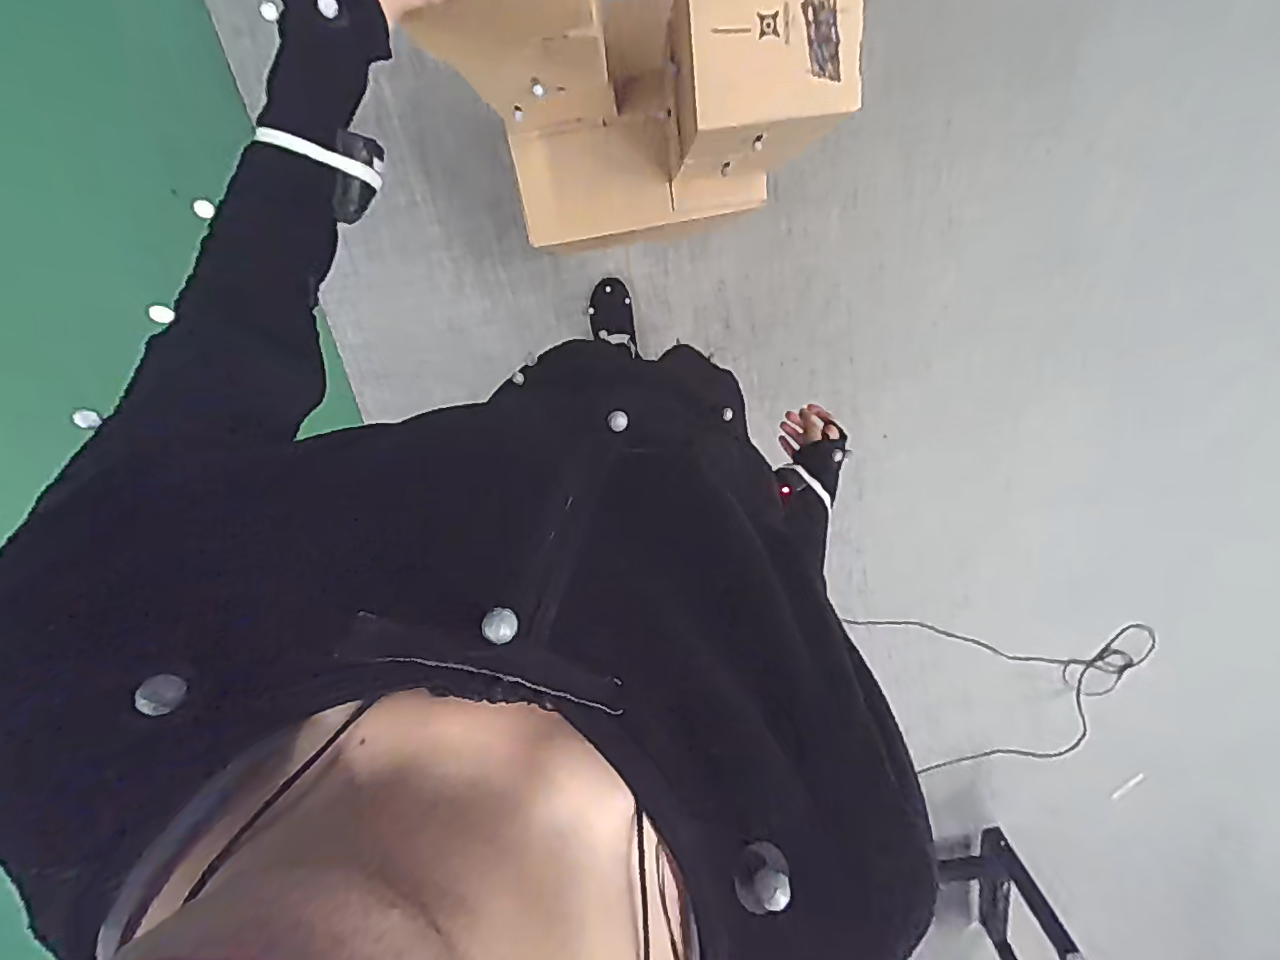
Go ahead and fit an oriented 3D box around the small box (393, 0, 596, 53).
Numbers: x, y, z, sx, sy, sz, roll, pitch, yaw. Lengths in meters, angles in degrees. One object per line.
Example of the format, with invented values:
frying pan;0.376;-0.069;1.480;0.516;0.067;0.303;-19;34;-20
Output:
small box;-0.142;-0.493;0.446;0.179;0.176;0.168;-9;110;4

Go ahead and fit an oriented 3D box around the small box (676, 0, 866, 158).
small box;0.139;-0.484;0.618;0.179;0.176;0.168;-6;111;3

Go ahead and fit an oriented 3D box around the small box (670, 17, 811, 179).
small box;0.135;-0.540;0.771;0.179;0.176;0.168;-6;113;3

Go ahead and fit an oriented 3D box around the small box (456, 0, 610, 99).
small box;-0.125;-0.554;0.597;0.168;0.176;0.179;-4;110;3
